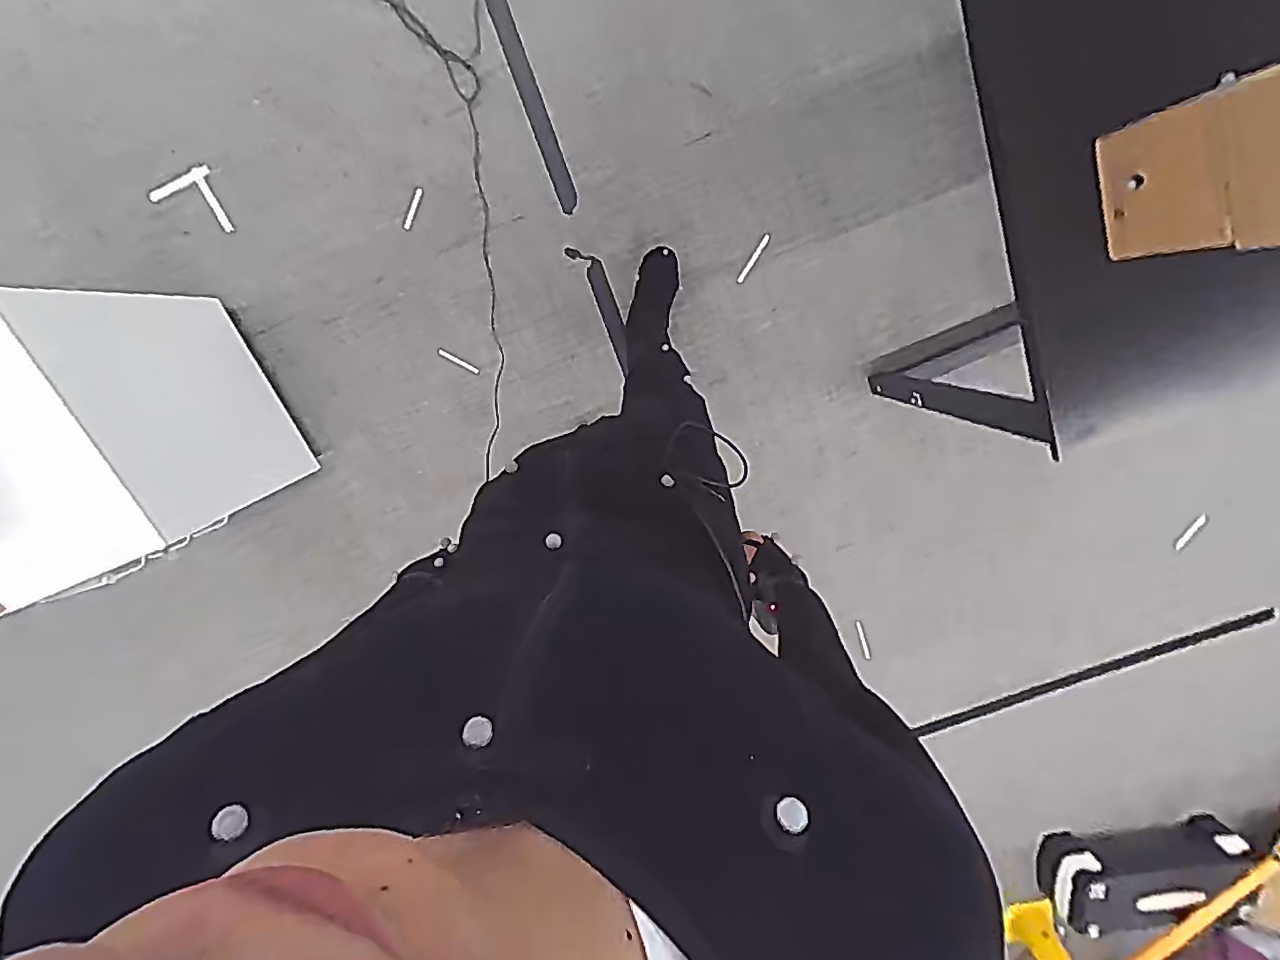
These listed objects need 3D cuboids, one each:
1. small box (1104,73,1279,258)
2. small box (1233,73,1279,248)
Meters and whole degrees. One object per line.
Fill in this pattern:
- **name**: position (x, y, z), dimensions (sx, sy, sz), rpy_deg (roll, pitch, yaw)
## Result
- **small box**: position (0.745, -0.398, 0.680), dimensions (0.179, 0.176, 0.168), rpy_deg (-21, 106, 5)
- **small box**: position (0.744, -0.349, 0.523), dimensions (0.168, 0.176, 0.179), rpy_deg (-24, 106, 6)
